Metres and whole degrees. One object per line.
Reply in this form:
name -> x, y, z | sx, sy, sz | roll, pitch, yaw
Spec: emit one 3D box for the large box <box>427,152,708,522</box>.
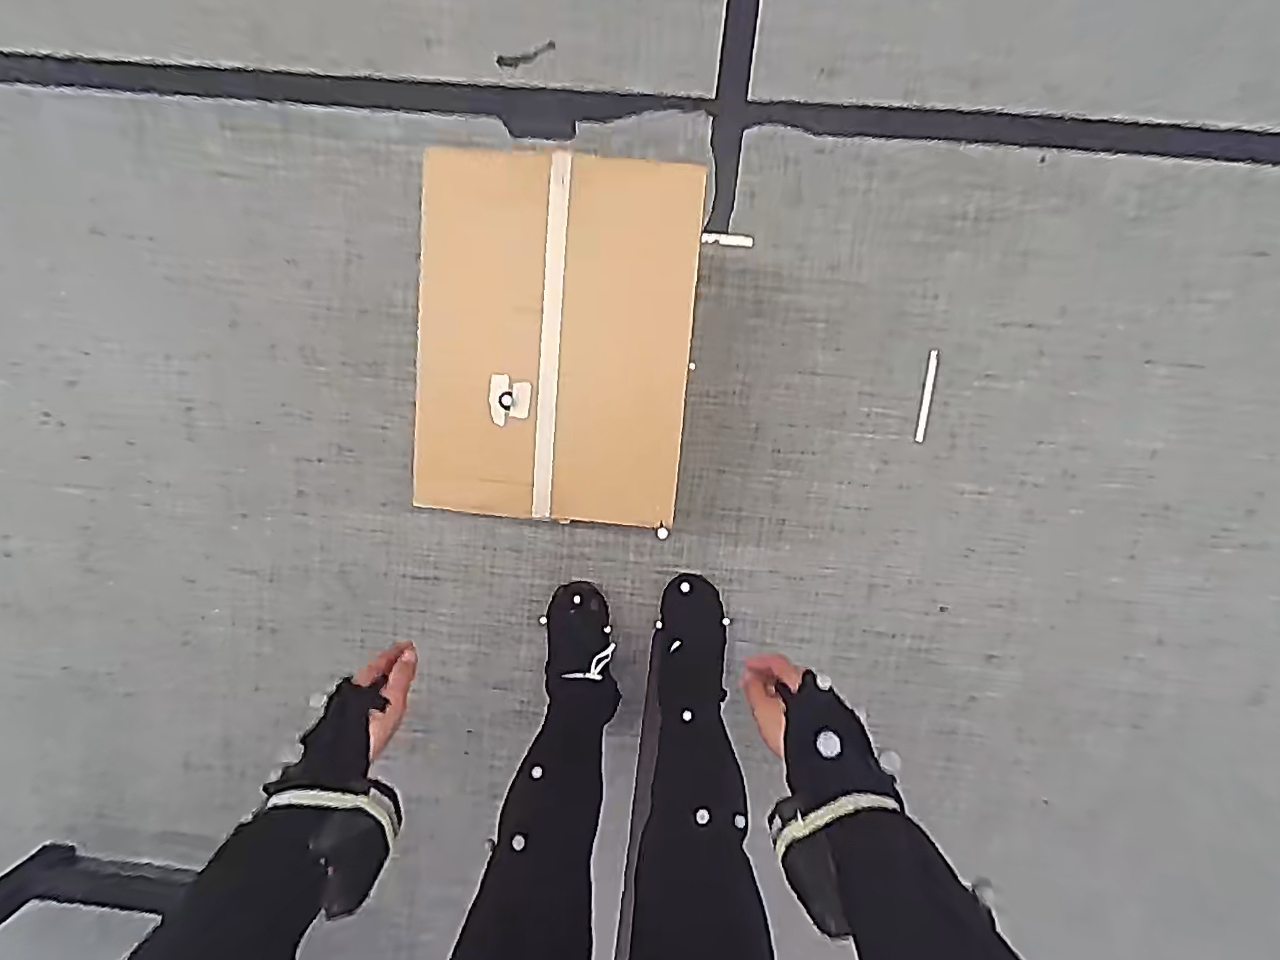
large box -> -0.086, -0.178, 0.761 | 0.320, 0.320, 0.408 | 4, 98, 2
